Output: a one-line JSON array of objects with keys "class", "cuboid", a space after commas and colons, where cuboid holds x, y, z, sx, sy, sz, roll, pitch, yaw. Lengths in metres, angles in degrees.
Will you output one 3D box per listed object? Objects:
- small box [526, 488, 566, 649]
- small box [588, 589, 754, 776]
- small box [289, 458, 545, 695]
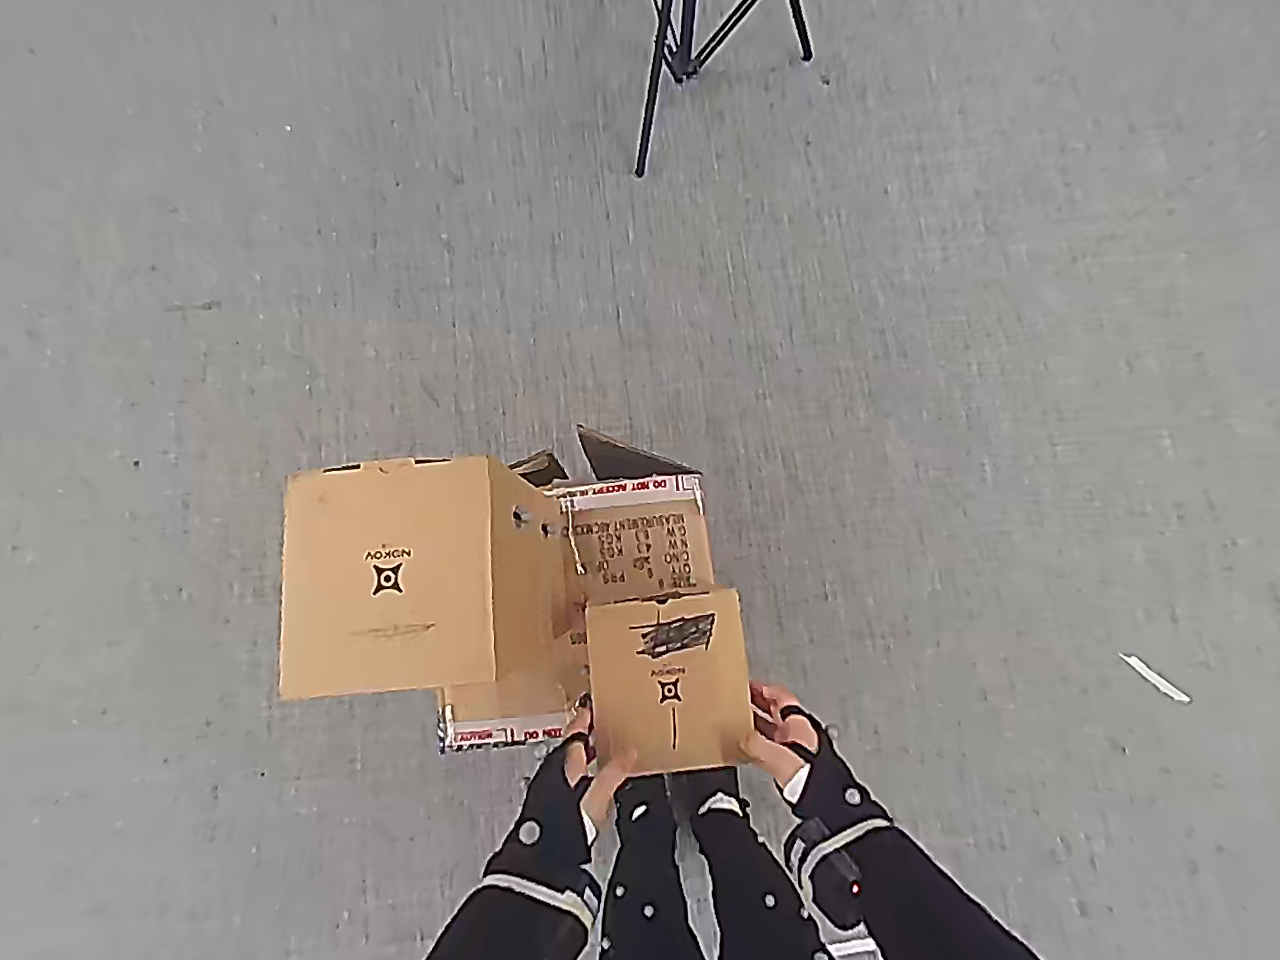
[{"class": "small box", "cuboid": [-0.187, 0.113, 0.663, 0.168, 0.176, 0.179, -5, 81, 0]}, {"class": "small box", "cuboid": [0.028, 0.224, 0.645, 0.168, 0.176, 0.179, -5, 81, -2]}, {"class": "small box", "cuboid": [-0.188, 0.086, 0.502, 0.168, 0.176, 0.179, -5, 81, 2]}]
